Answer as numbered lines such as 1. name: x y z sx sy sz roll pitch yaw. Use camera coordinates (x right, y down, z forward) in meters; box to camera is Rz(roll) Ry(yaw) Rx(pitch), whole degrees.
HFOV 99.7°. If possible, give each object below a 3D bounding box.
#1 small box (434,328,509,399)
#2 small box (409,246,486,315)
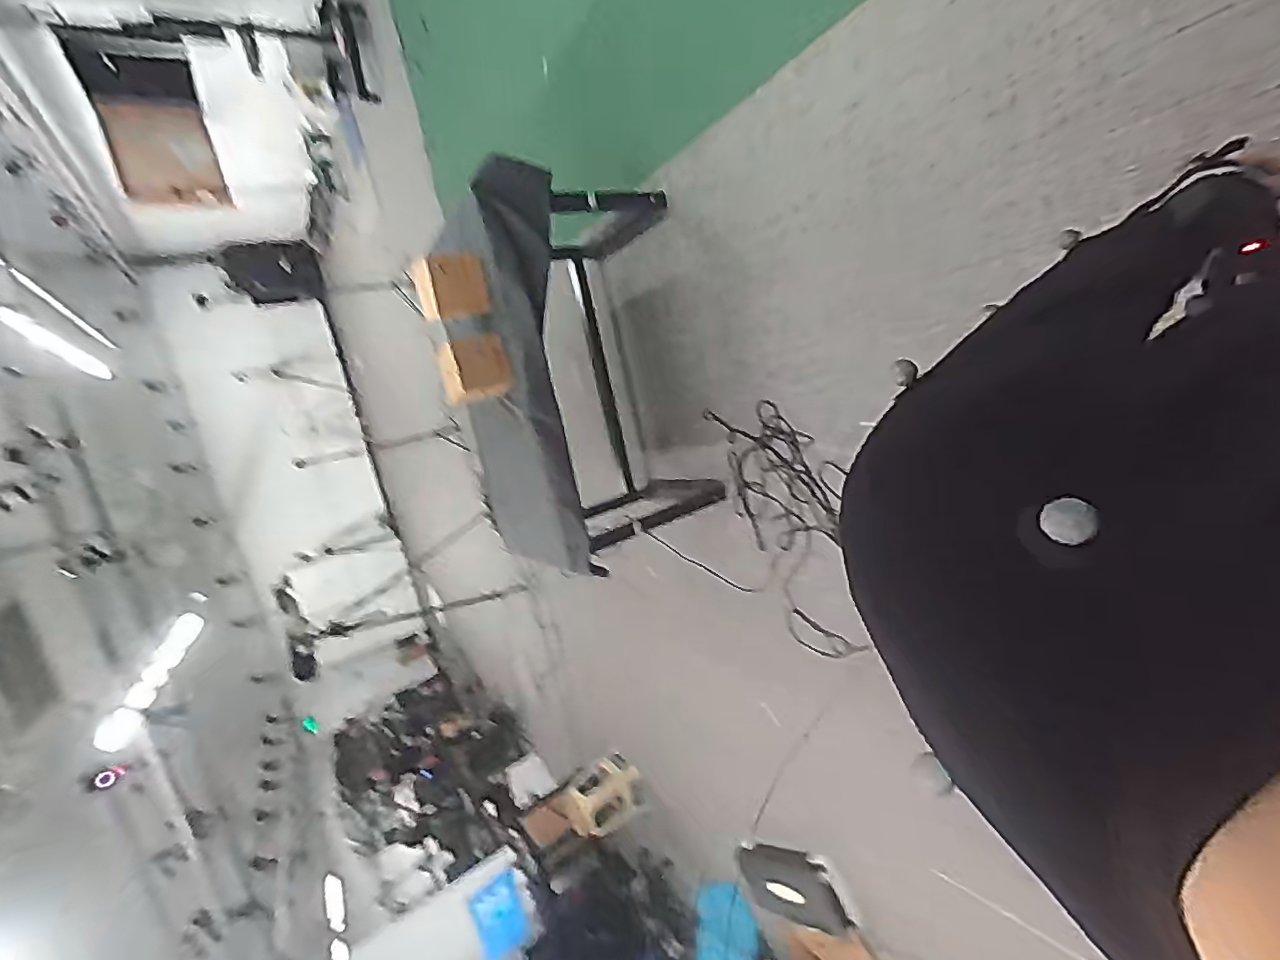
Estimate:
1. small box: -0.533 -0.372 1.721 0.179 0.176 0.168 -12 95 59
2. small box: -0.597 -0.621 1.686 0.168 0.176 0.179 14 117 54
